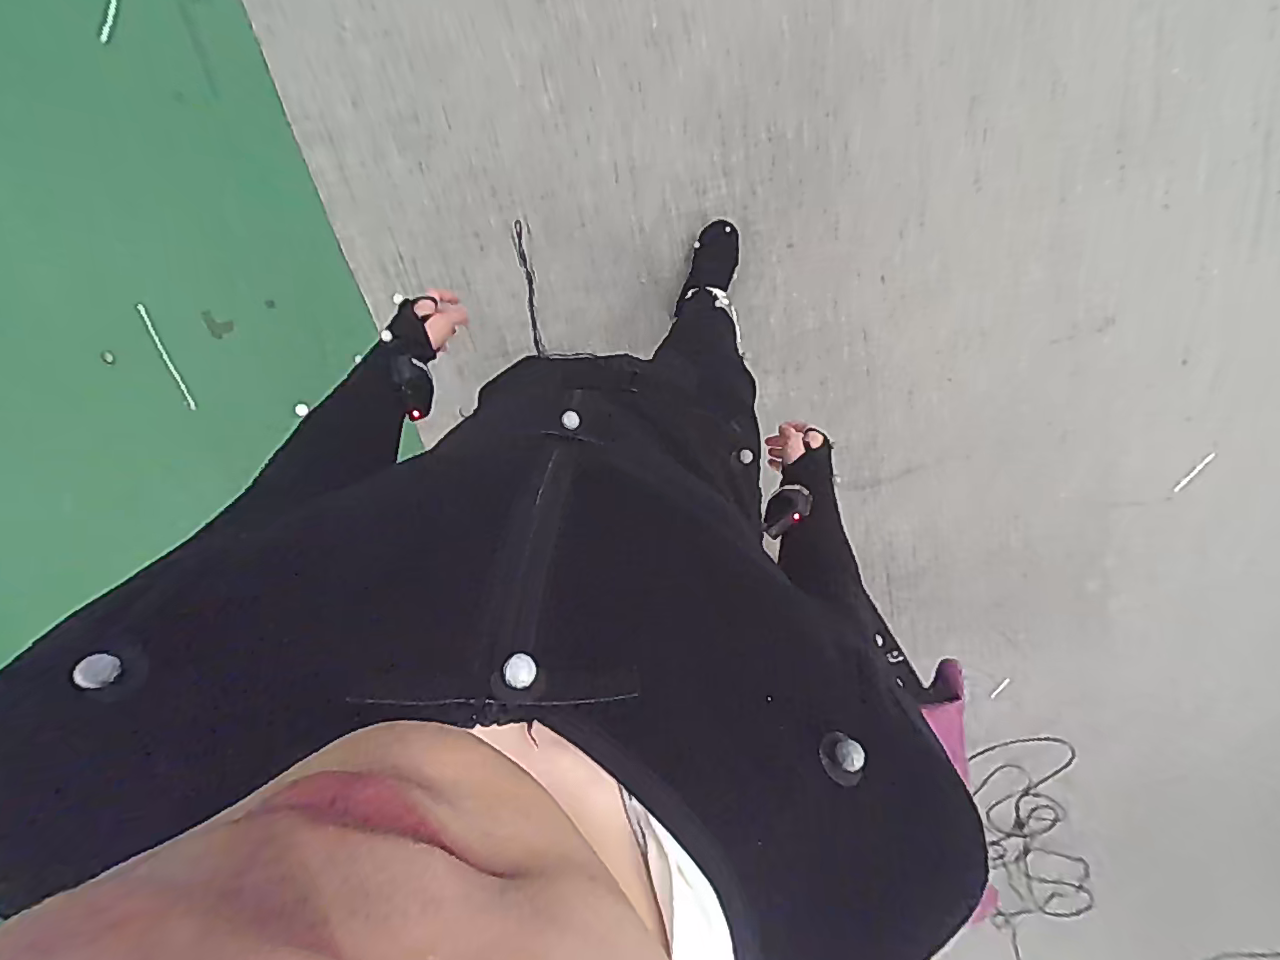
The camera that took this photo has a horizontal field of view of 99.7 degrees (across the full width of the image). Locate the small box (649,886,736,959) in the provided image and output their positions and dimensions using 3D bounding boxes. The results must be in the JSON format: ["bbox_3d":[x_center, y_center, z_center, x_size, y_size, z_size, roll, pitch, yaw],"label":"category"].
[{"bbox_3d":[0.119,1.019,1.173,0.168,0.176,0.179,-10,109,8],"label":"small box"}]

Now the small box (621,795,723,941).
[{"bbox_3d":[0.066,0.767,1.077,0.168,0.176,0.179,-11,111,7],"label":"small box"}]
